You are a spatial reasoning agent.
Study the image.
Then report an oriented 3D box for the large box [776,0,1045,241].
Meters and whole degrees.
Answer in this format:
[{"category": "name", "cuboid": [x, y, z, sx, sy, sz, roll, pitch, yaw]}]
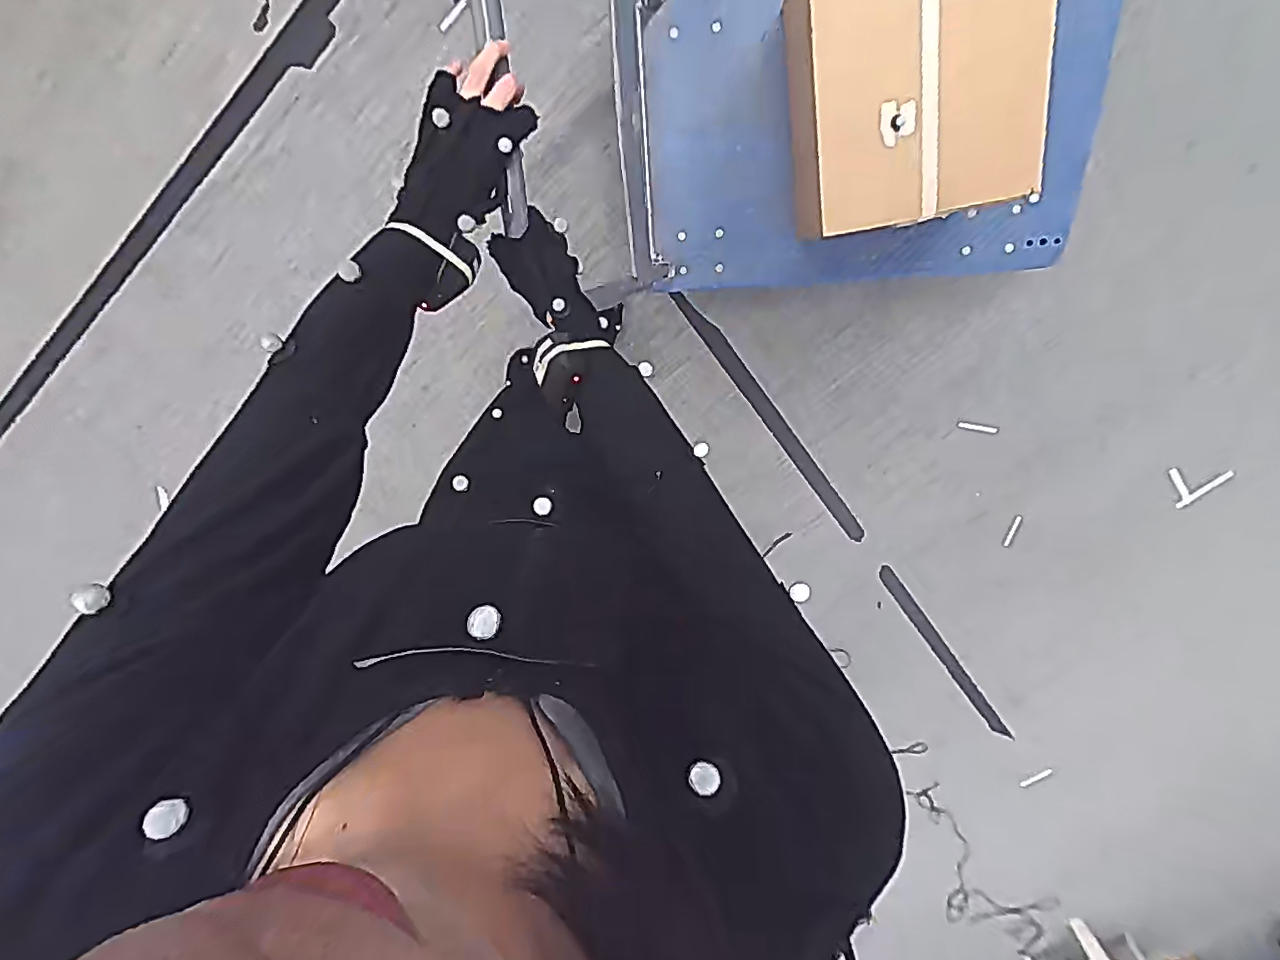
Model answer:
[{"category": "large box", "cuboid": [0.420, -0.647, 0.901, 0.320, 0.320, 0.408, -8, 113, 12]}]
